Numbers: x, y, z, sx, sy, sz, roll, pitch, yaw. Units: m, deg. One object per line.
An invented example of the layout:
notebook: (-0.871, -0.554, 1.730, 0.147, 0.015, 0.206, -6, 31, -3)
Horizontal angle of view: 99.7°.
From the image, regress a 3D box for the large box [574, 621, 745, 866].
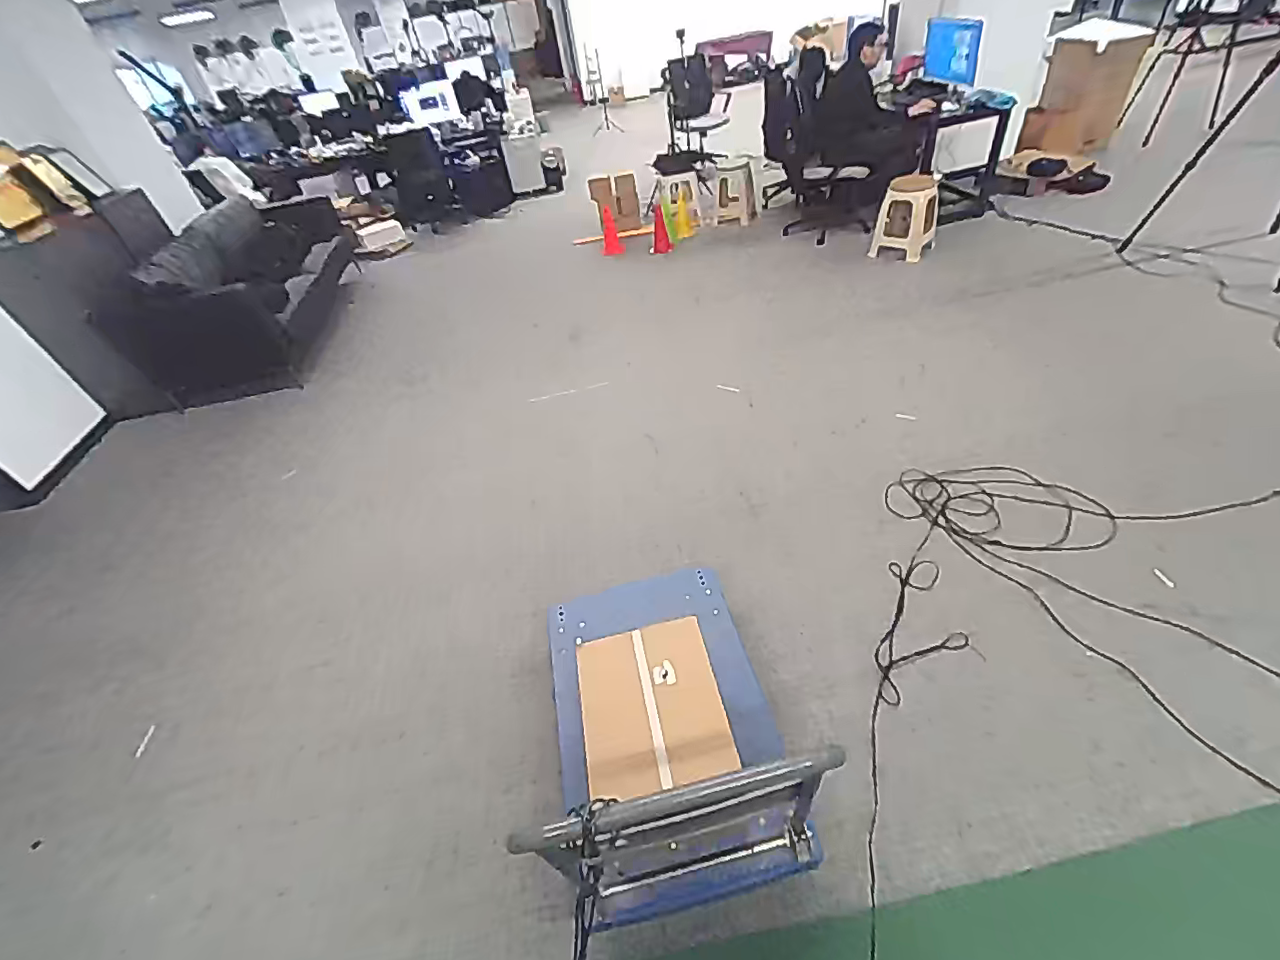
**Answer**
large box: (0.042, 0.626, 1.308, 0.320, 0.320, 0.408, -12, 41, -3)
